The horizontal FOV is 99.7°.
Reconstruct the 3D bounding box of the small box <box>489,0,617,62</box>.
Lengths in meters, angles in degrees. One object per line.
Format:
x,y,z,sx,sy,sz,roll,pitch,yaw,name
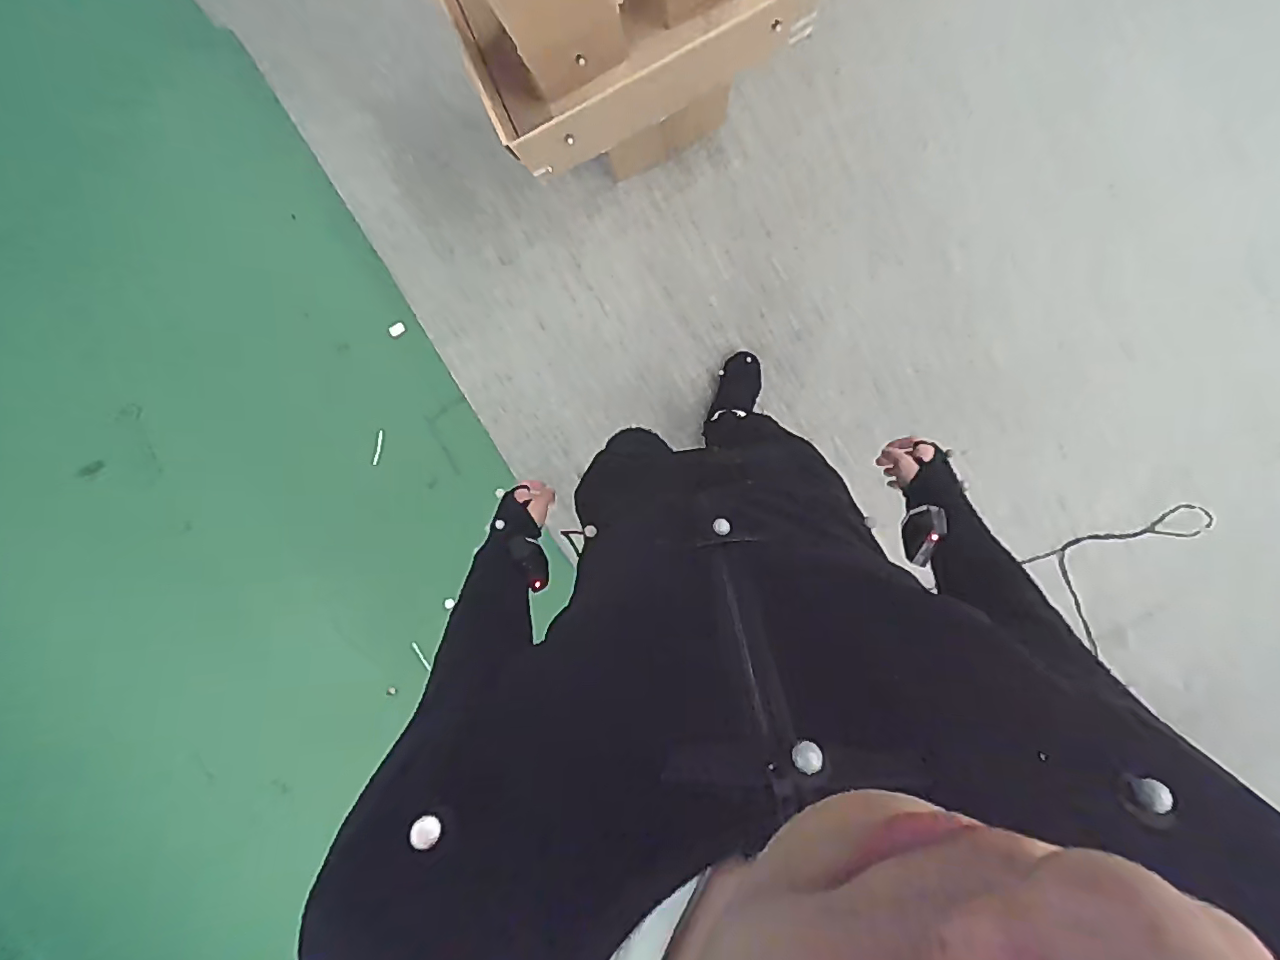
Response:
-0.151,-0.789,0.816,0.179,0.176,0.168,-21,100,11,small box

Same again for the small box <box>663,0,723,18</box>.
0.099,-0.939,0.914,0.168,0.176,0.179,-18,100,10,small box
